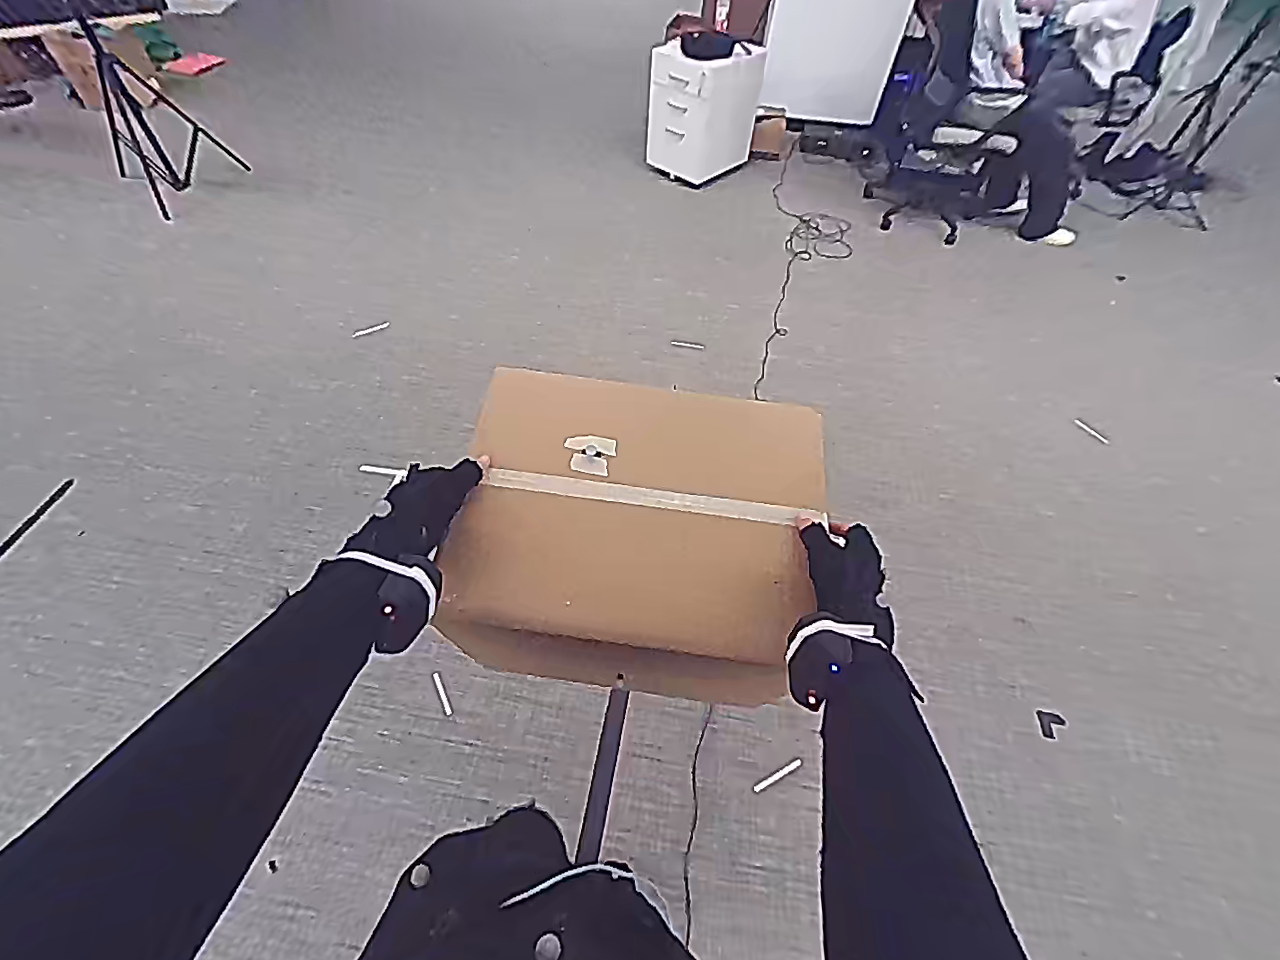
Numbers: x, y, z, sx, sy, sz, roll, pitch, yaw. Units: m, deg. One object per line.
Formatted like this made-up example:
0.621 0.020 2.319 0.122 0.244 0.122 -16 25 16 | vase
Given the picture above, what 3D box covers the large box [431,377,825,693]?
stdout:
-0.001 0.094 0.738 0.408 0.320 0.320 7 61 1 | large box
